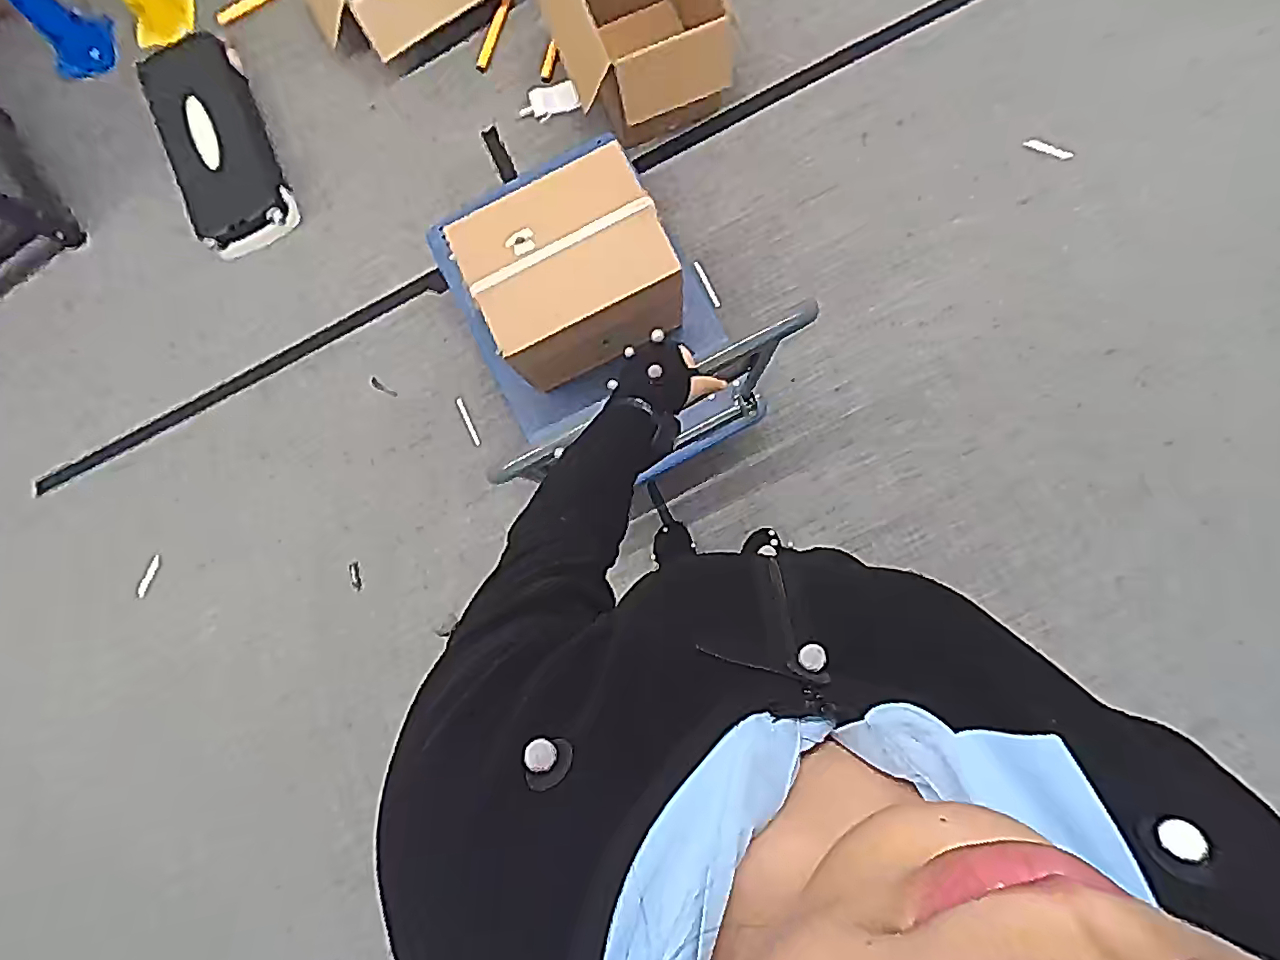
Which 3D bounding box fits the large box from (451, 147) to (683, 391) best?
[{"bbox_3d":[-0.145,-0.458,1.260,0.408,0.320,0.320,-27,83,3],"label":"large box"}]
